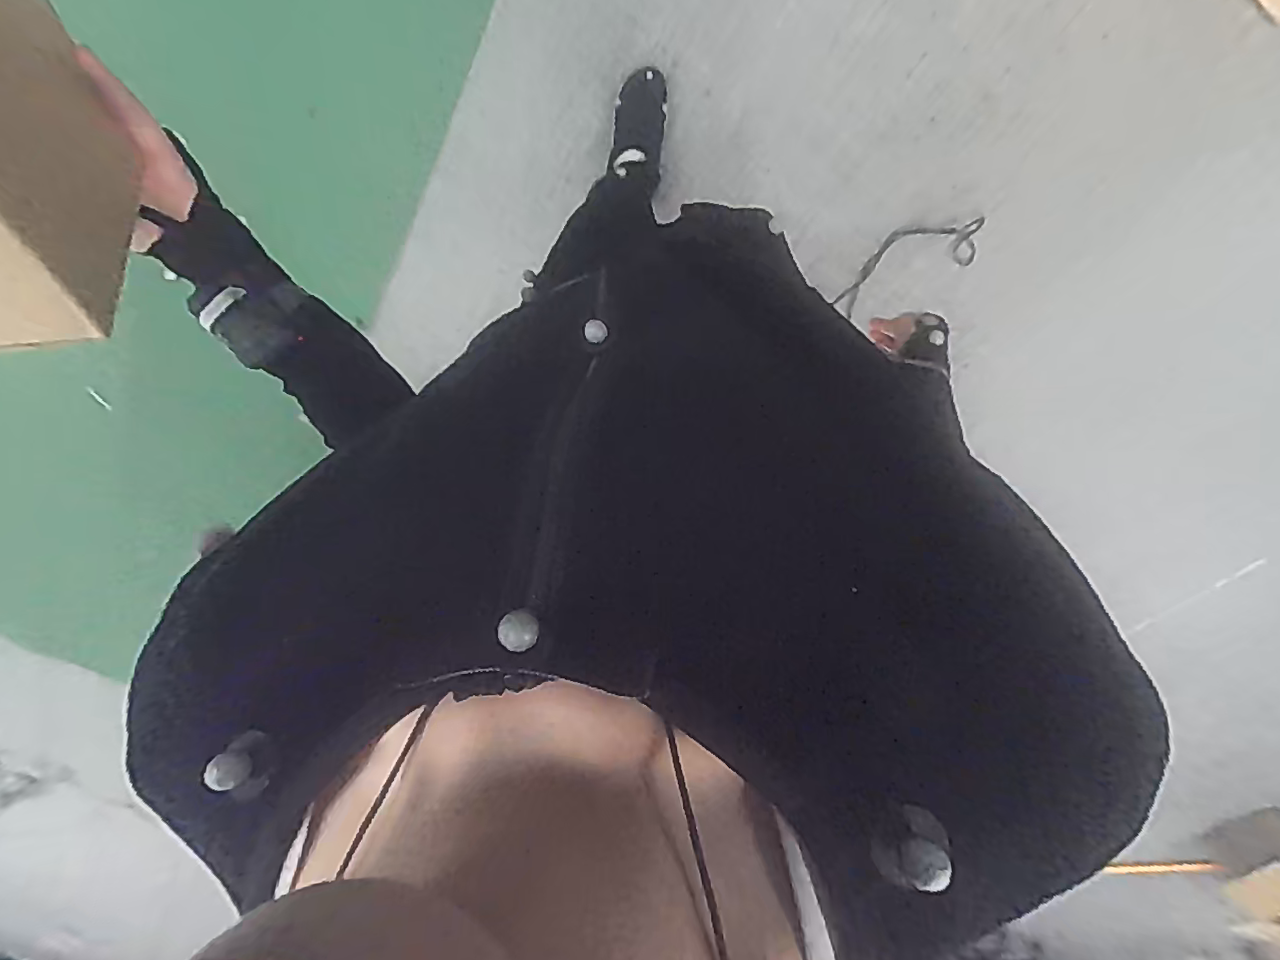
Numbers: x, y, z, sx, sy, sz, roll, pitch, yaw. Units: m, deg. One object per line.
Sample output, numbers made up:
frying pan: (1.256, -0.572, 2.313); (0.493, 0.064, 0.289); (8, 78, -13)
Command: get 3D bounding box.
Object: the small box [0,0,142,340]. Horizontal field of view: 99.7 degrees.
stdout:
small box: (-0.357, -0.170, 0.214); (0.179, 0.168, 0.176); (-12, 151, -18)
